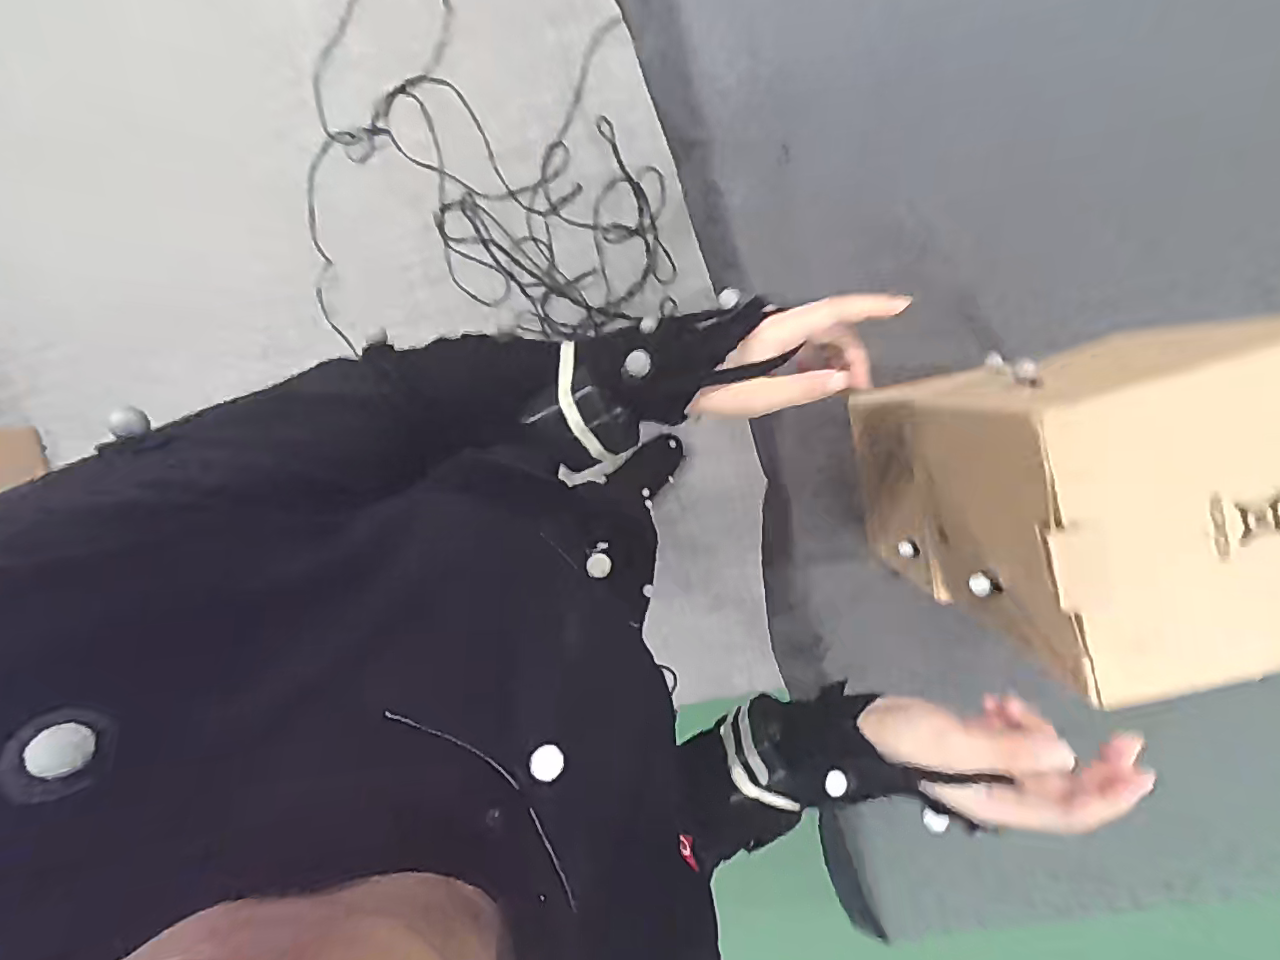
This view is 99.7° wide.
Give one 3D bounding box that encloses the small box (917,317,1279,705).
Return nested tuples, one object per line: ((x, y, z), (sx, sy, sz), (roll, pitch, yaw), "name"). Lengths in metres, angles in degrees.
((0.304, 0.006, 0.346), (0.179, 0.176, 0.168), (-18, 99, 6), "small box")

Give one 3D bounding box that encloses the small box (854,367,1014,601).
((0.316, -0.009, 0.507), (0.168, 0.176, 0.179), (-11, 98, 6), "small box")
